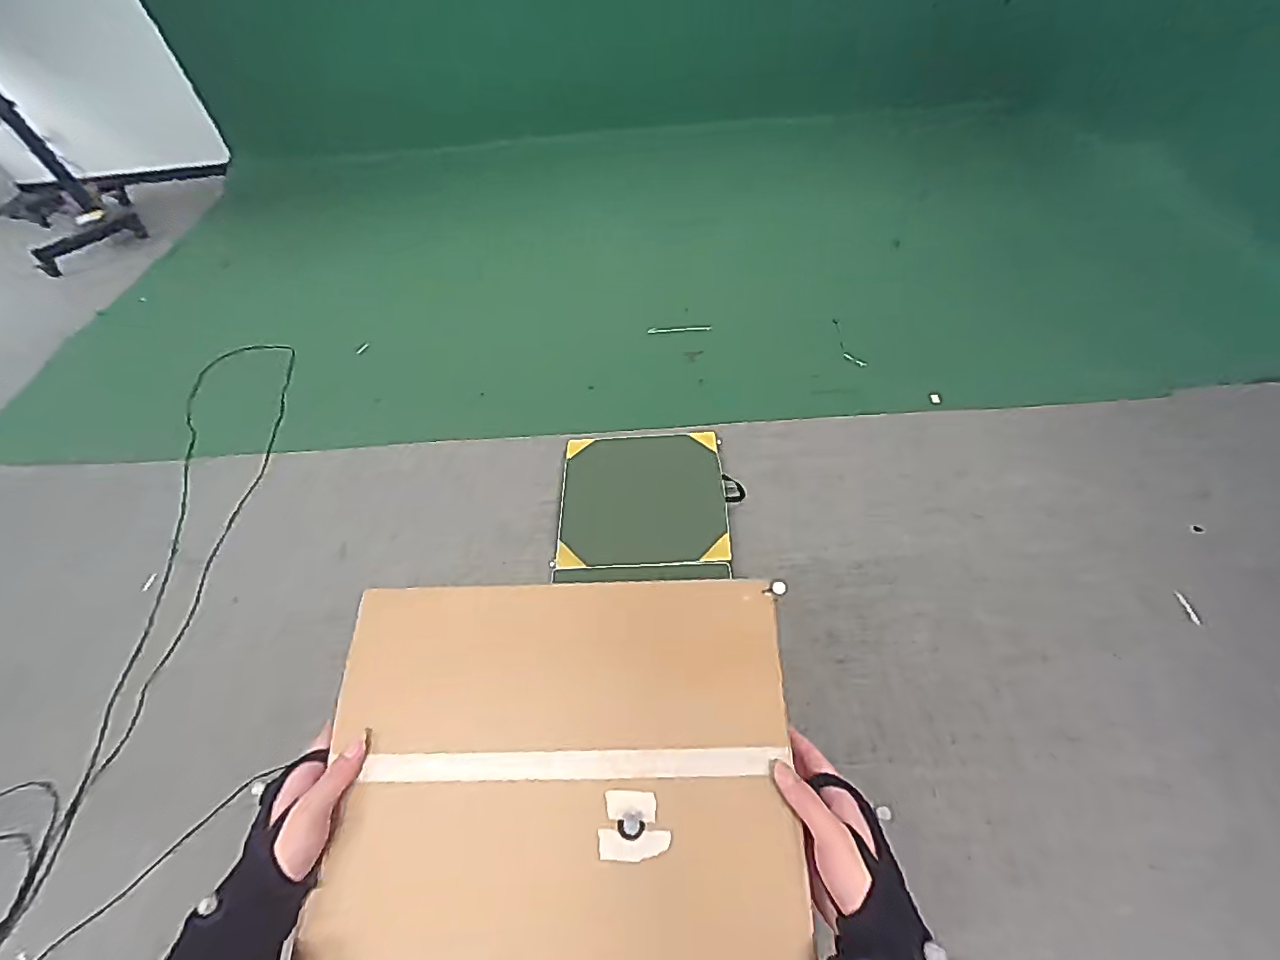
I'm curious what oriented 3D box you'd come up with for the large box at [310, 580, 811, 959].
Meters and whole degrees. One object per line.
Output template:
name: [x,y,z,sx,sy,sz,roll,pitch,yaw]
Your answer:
large box: [-0.064,0.311,0.615,0.408,0.320,0.320,-2,66,2]
